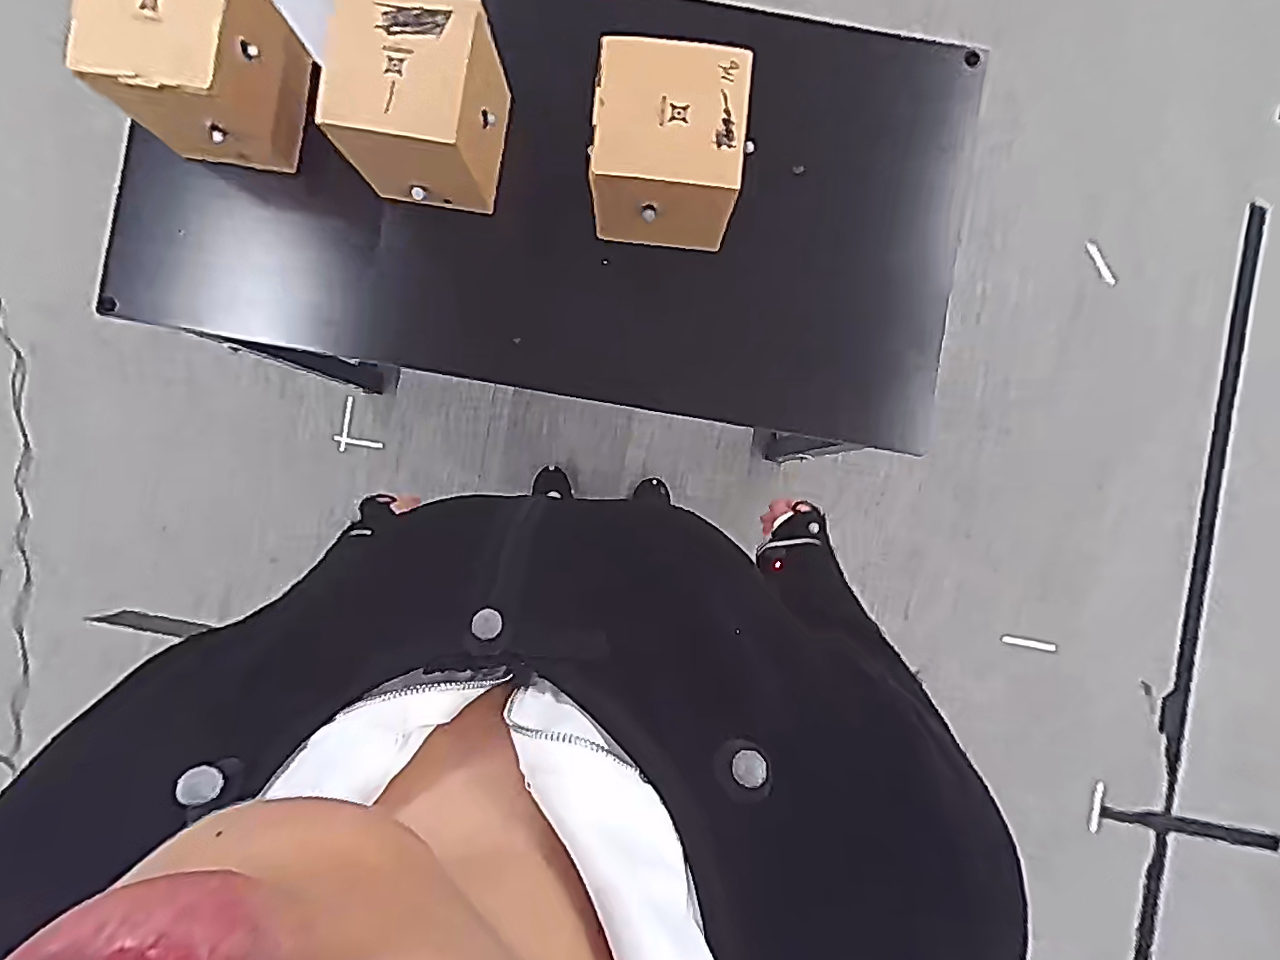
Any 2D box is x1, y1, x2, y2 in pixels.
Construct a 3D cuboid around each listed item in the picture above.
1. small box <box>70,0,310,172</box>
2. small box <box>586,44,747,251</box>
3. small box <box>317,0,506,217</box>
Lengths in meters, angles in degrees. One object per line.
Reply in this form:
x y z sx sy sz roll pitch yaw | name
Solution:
-0.563 -0.537 0.702 0.168 0.176 0.179 8 88 -2 | small box
0.031 -0.420 0.711 0.179 0.176 0.168 6 89 0 | small box
-0.281 -0.480 0.705 0.168 0.176 0.179 9 90 -1 | small box
